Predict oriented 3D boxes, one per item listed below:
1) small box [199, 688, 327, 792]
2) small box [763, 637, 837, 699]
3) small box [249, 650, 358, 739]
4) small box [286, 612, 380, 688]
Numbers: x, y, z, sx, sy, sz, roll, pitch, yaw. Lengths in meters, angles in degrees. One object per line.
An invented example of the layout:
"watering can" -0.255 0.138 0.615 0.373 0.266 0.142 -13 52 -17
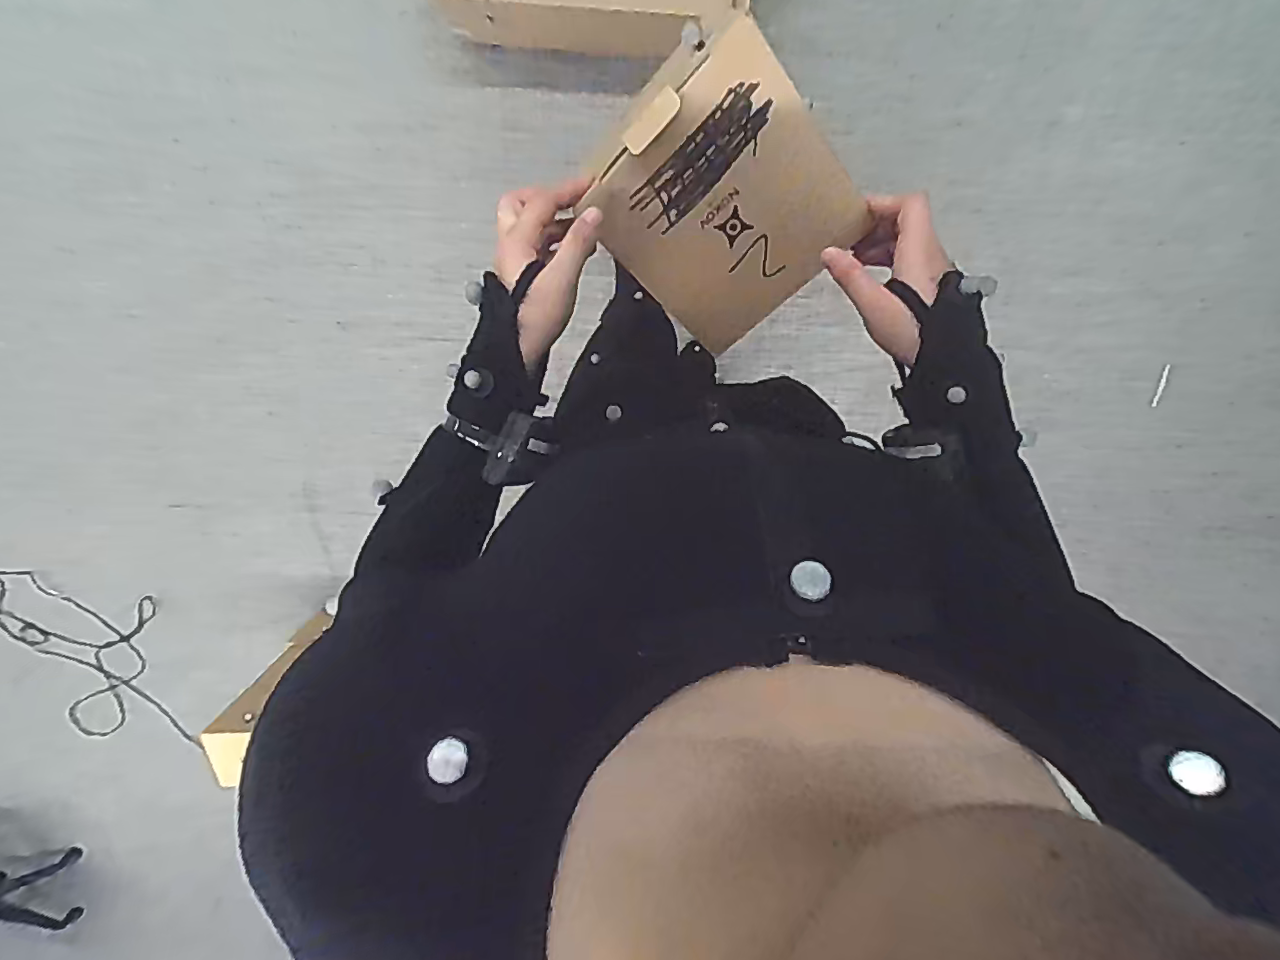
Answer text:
"small box" -0.916 0.634 1.330 0.179 0.176 0.168 -3 109 2
"small box" 0.467 0.587 1.609 0.168 0.176 0.179 3 109 1
"small box" -0.915 0.586 1.486 0.179 0.176 0.168 -2 110 2
"small box" -0.913 0.515 1.634 0.179 0.176 0.168 -5 108 4
